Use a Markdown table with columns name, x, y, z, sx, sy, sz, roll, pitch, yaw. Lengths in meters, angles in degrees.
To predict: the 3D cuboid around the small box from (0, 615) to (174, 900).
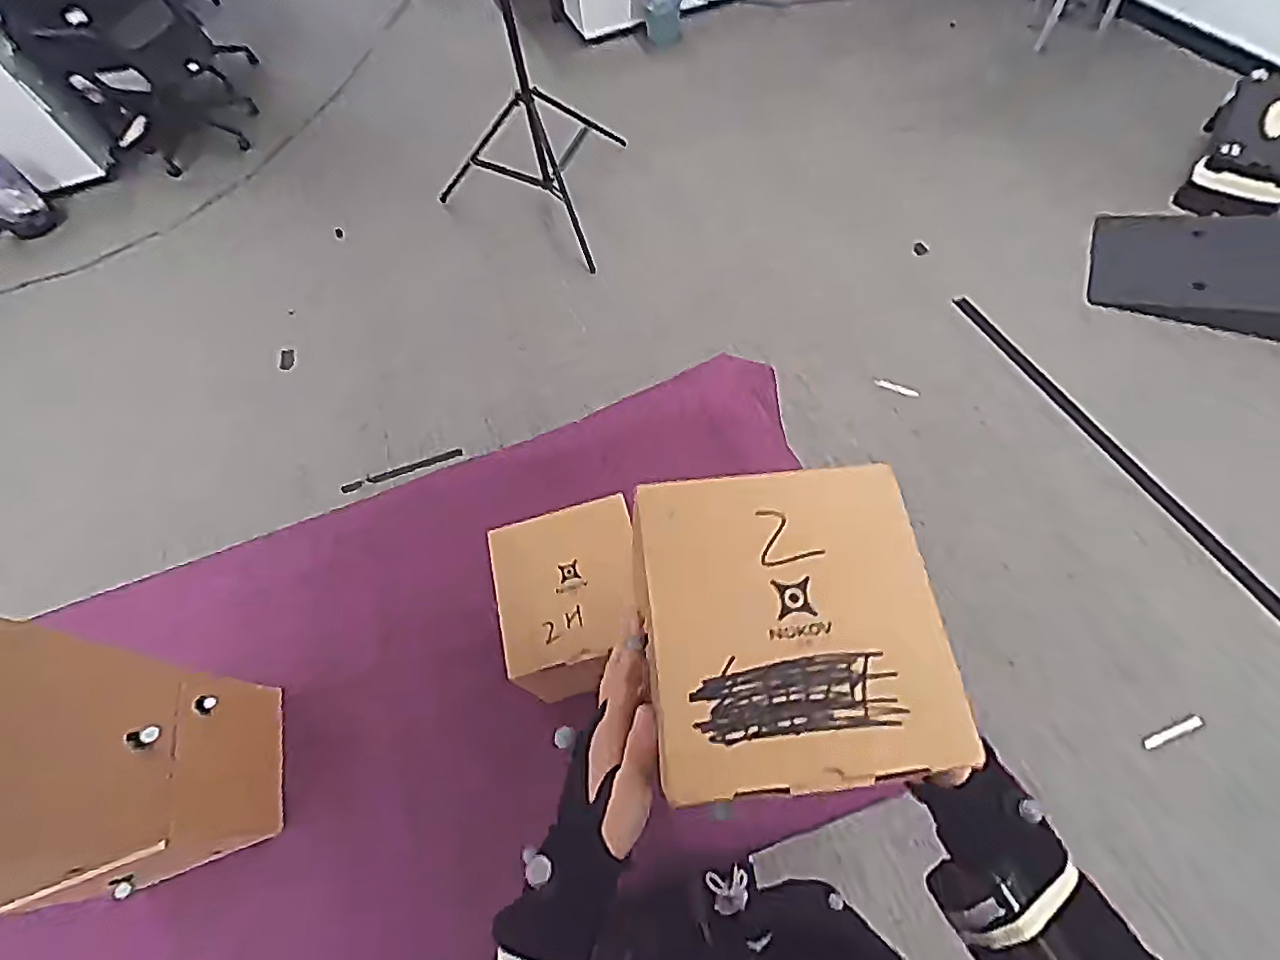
| name | x | y | z | sx | sy | sz | roll | pitch | yaw |
| --- | --- | --- | --- | --- | --- | --- | --- | --- | --- |
| small box | -0.551 | 0.246 | 0.464 | 0.168 | 0.176 | 0.179 | -20 | 60 | -6 |

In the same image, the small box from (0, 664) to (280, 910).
| name | x | y | z | sx | sy | sz | roll | pitch | yaw |
| --- | --- | --- | --- | --- | --- | --- | --- | --- | --- |
| small box | -0.535 | 0.331 | 0.603 | 0.168 | 0.176 | 0.179 | -20 | 60 | -6 |

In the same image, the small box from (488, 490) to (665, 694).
| name | x | y | z | sx | sy | sz | roll | pitch | yaw |
| --- | --- | --- | --- | --- | --- | --- | --- | --- | --- |
| small box | -0.072 | 0.142 | 0.662 | 0.168 | 0.176 | 0.179 | -16 | 61 | -3 |
